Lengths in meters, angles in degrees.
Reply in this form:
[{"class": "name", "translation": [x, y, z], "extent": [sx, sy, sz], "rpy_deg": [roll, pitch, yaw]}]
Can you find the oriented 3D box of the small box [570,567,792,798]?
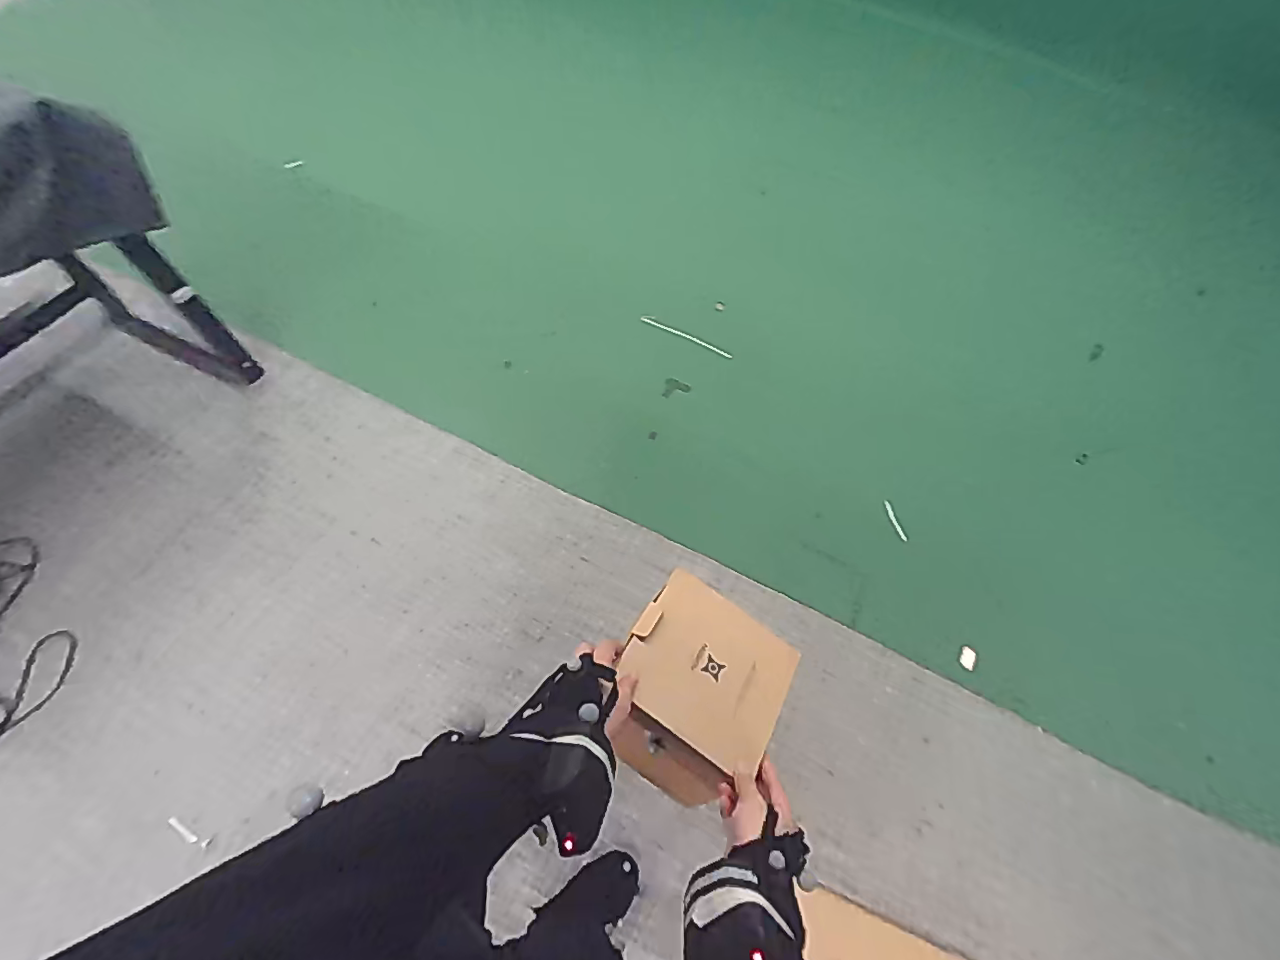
[{"class": "small box", "translation": [0.040, 0.241, 0.632], "extent": [0.179, 0.176, 0.168], "rpy_deg": [35, 50, 5]}]
